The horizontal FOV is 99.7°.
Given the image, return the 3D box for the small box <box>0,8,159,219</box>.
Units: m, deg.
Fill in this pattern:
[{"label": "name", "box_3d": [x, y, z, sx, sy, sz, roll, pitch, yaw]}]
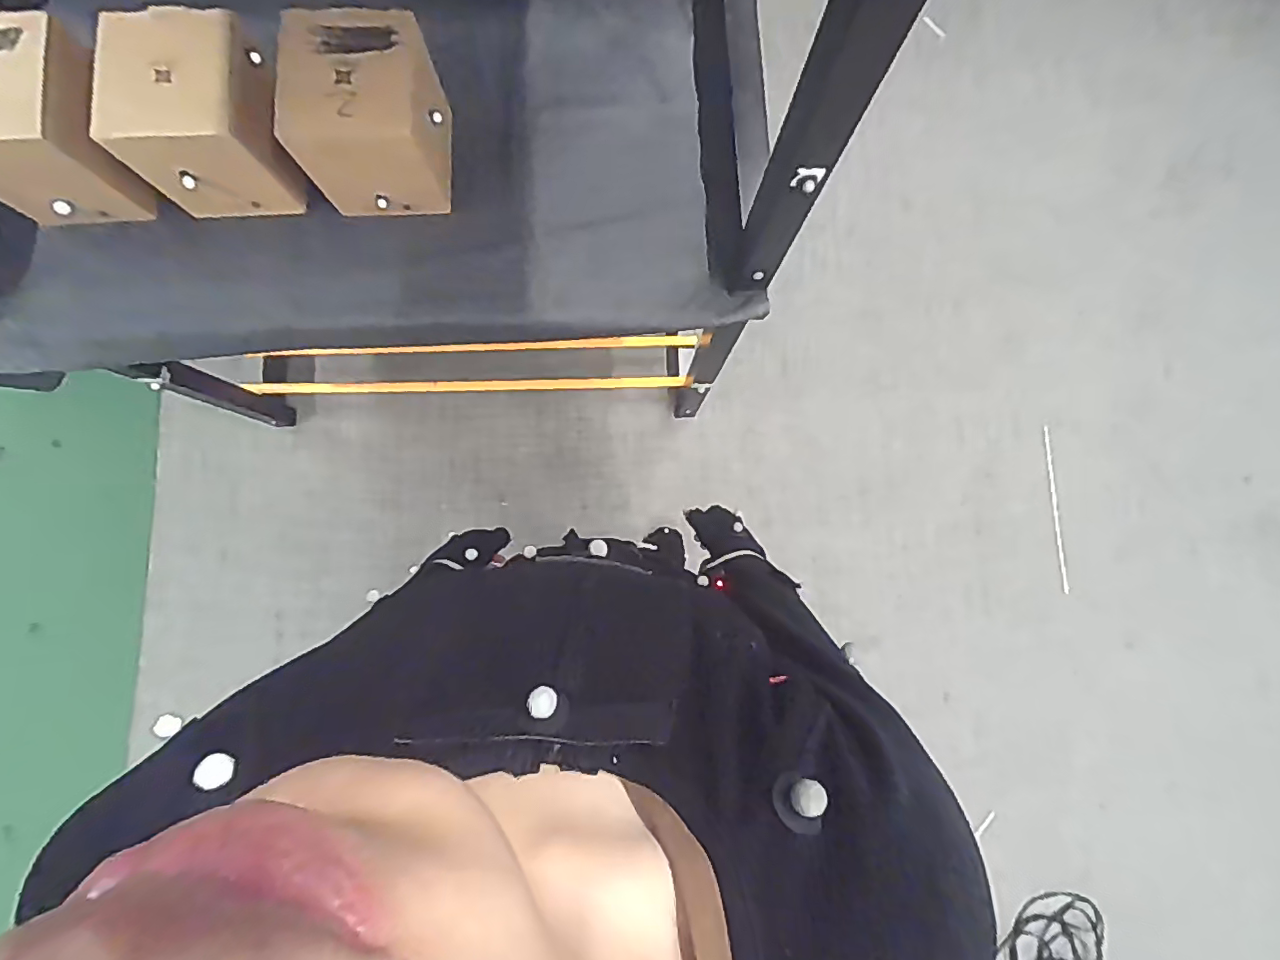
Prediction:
[{"label": "small box", "box_3d": [-0.806, -0.486, 0.736, 0.168, 0.176, 0.179, -4, 84, -2]}]
